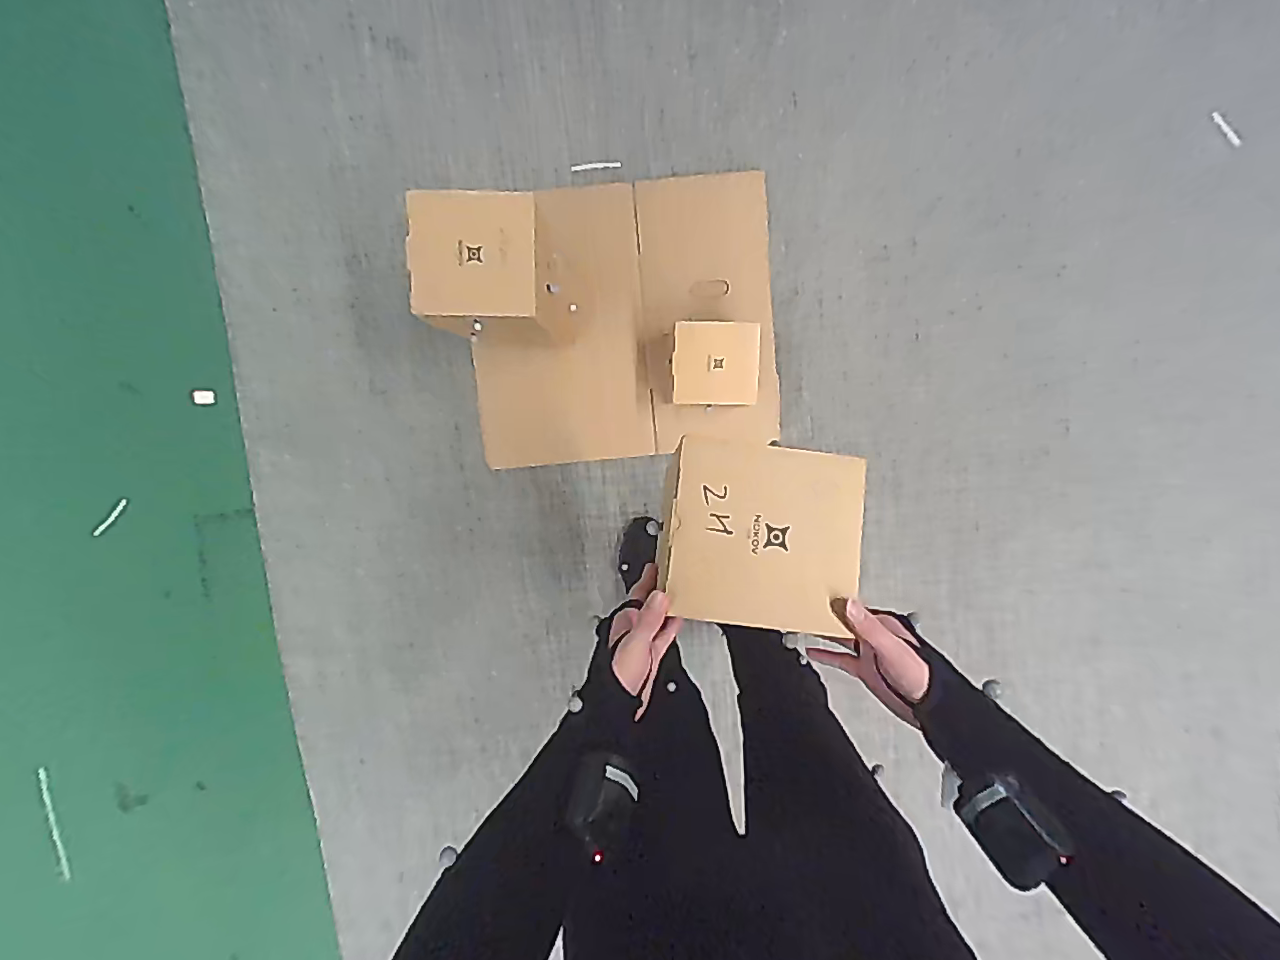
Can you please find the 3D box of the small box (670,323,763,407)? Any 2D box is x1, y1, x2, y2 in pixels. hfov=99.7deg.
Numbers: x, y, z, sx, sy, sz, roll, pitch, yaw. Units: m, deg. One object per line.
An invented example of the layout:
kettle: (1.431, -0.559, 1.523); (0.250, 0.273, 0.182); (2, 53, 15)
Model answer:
small box: (0.158, -0.243, 1.167); (0.179, 0.176, 0.168); (0, 97, 1)

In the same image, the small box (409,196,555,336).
small box: (-0.230, -0.314, 0.825); (0.179, 0.176, 0.168); (1, 98, -1)

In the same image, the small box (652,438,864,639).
small box: (0.112, 0.064, 0.574); (0.179, 0.176, 0.168); (8, 80, 0)
